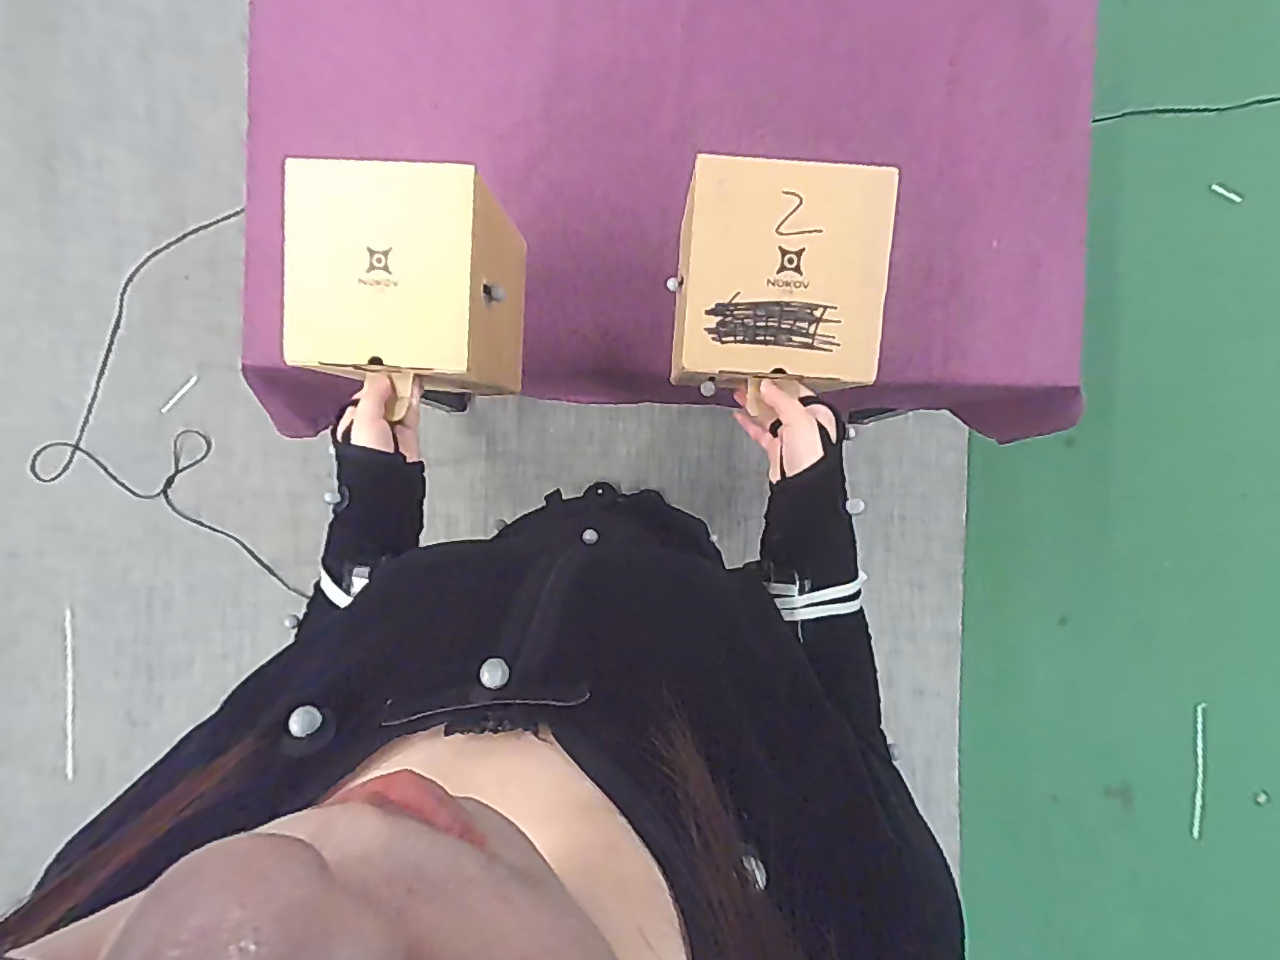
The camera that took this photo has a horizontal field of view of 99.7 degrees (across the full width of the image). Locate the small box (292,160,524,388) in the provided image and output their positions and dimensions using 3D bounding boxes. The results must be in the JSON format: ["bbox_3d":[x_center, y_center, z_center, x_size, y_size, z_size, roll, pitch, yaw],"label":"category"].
[{"bbox_3d":[-0.222,-0.195,0.558,0.168,0.176,0.179,4,95,2],"label":"small box"}]
